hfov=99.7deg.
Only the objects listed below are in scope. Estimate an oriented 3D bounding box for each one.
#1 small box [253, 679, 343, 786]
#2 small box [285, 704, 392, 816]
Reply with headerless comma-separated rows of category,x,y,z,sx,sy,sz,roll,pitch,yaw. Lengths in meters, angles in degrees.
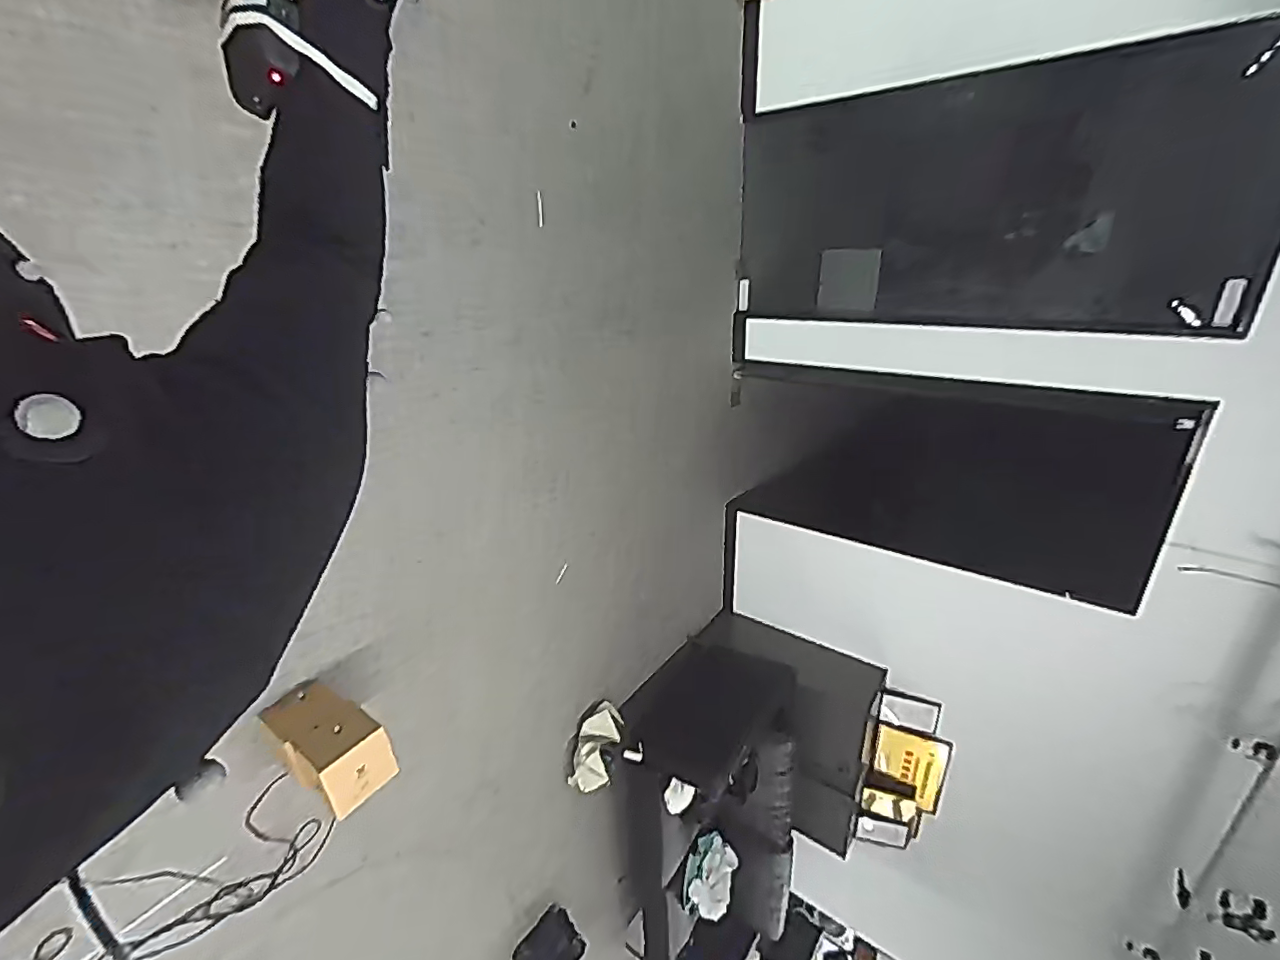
small box,-0.928,0.690,1.499,0.168,0.176,0.179,-32,127,-47
small box,-0.790,0.718,1.415,0.168,0.176,0.179,-31,127,-46
